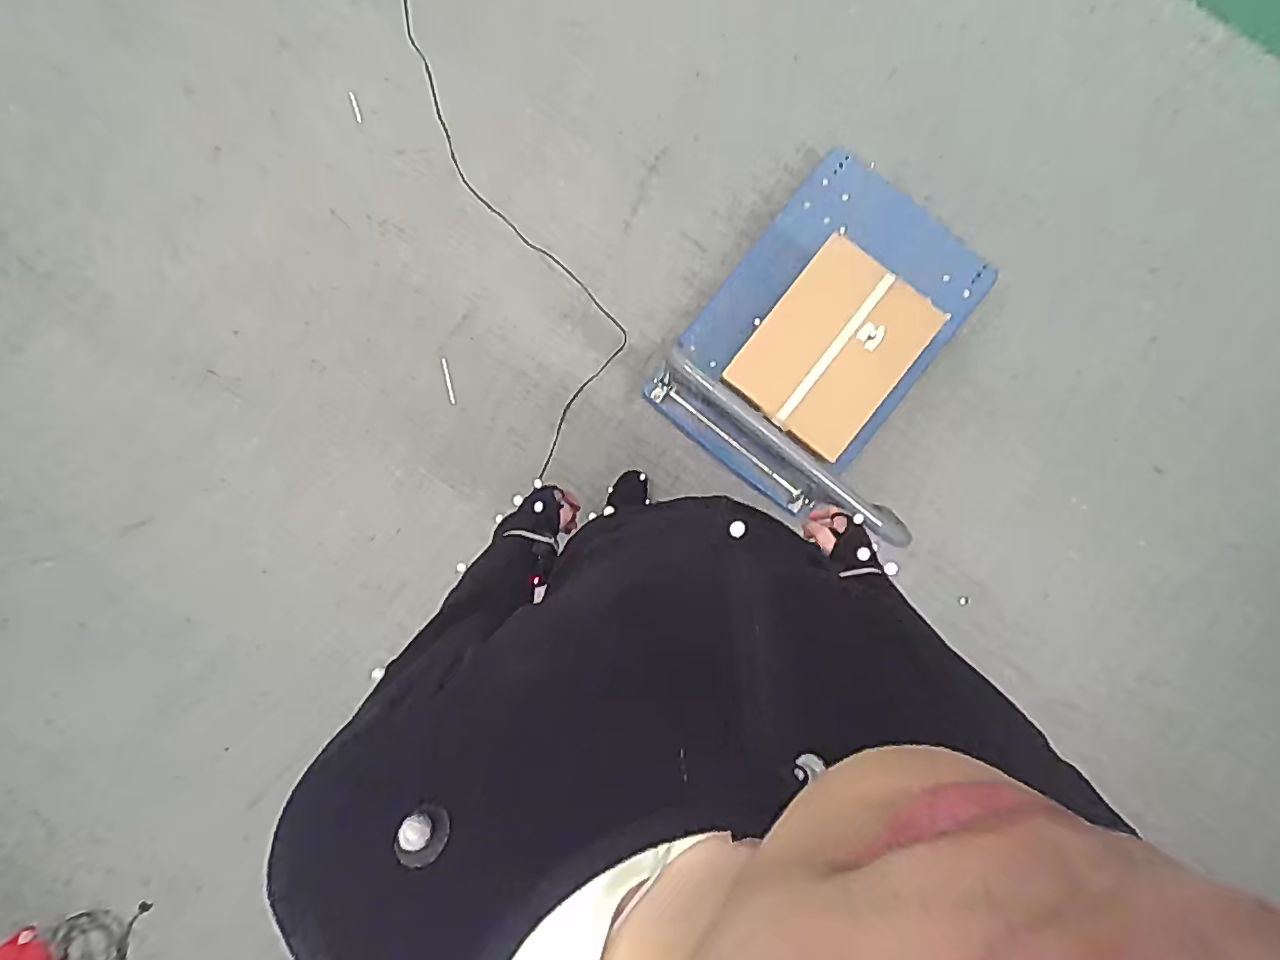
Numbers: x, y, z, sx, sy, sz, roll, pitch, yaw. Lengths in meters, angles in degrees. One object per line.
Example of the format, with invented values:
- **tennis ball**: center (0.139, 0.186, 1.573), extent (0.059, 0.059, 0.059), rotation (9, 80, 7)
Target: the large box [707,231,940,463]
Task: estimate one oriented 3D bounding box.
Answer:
- **large box**: center (0.415, -0.292, 1.320), extent (0.320, 0.320, 0.408), rotation (38, 89, -1)
